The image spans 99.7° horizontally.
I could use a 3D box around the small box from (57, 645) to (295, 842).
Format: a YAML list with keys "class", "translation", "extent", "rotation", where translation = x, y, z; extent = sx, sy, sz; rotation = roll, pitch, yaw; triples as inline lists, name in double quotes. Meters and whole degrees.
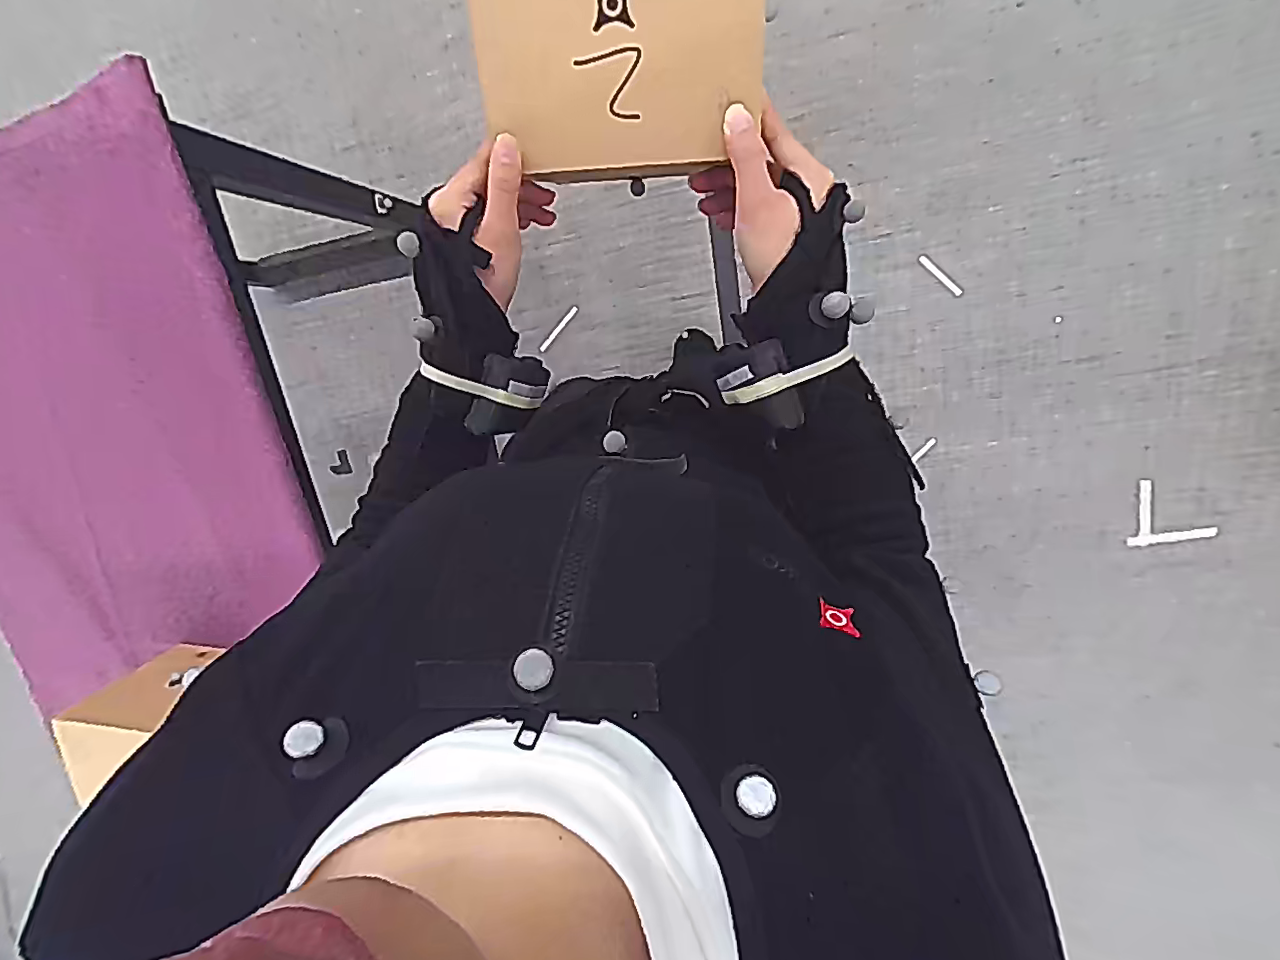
- class: "small box"
  translation: [-0.623, 0.350, 0.750]
  extent: [0.168, 0.176, 0.179]
  rotation: [2, 107, 10]
